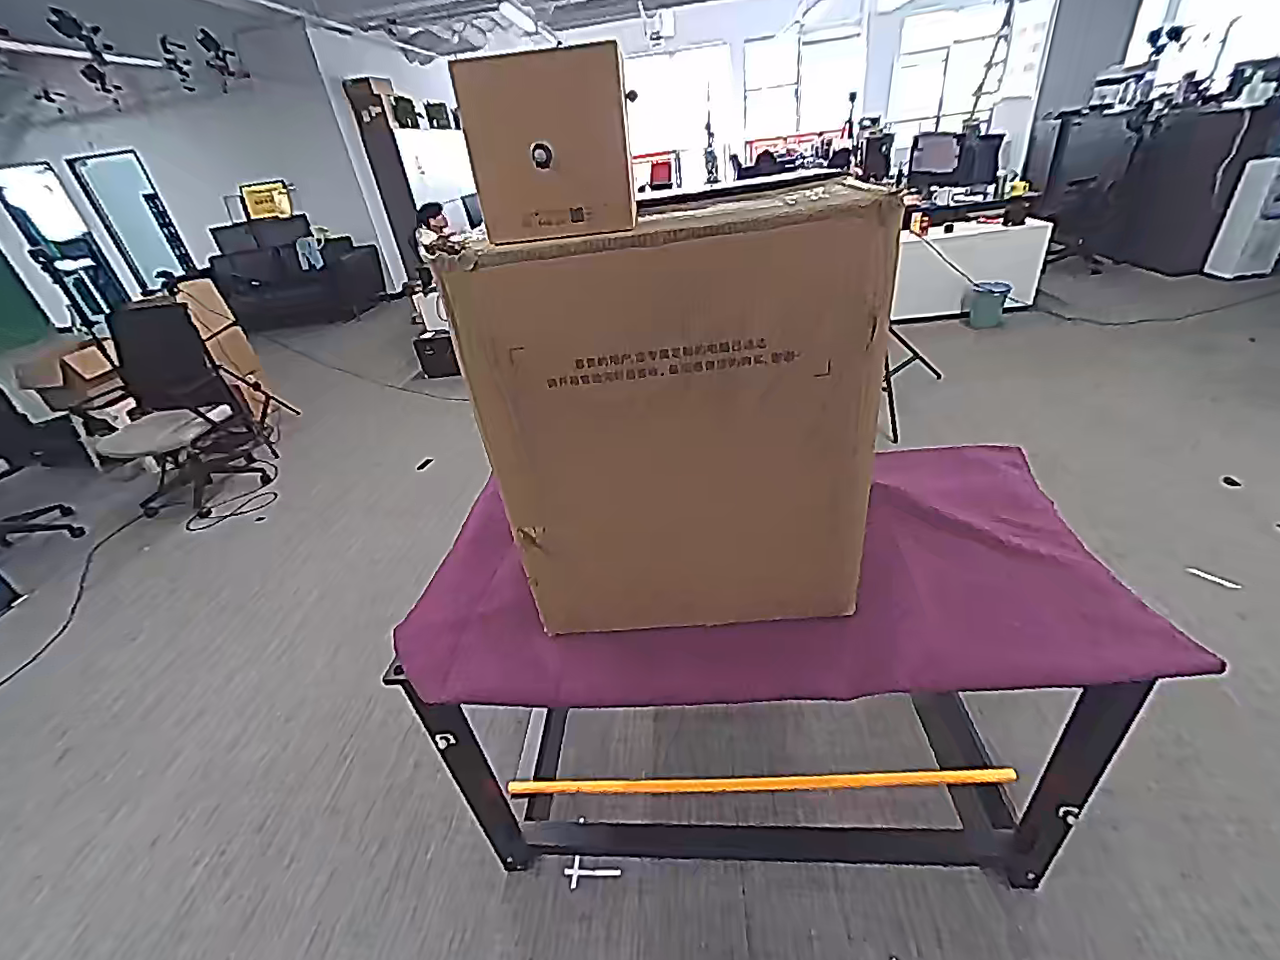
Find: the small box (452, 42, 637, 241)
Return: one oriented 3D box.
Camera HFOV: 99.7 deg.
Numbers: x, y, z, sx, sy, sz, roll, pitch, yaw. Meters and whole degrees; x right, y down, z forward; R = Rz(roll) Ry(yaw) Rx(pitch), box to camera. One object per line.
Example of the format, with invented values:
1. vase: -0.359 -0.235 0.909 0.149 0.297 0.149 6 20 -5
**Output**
1. small box: -0.093 -0.382 0.629 0.168 0.176 0.179 -4 33 3
